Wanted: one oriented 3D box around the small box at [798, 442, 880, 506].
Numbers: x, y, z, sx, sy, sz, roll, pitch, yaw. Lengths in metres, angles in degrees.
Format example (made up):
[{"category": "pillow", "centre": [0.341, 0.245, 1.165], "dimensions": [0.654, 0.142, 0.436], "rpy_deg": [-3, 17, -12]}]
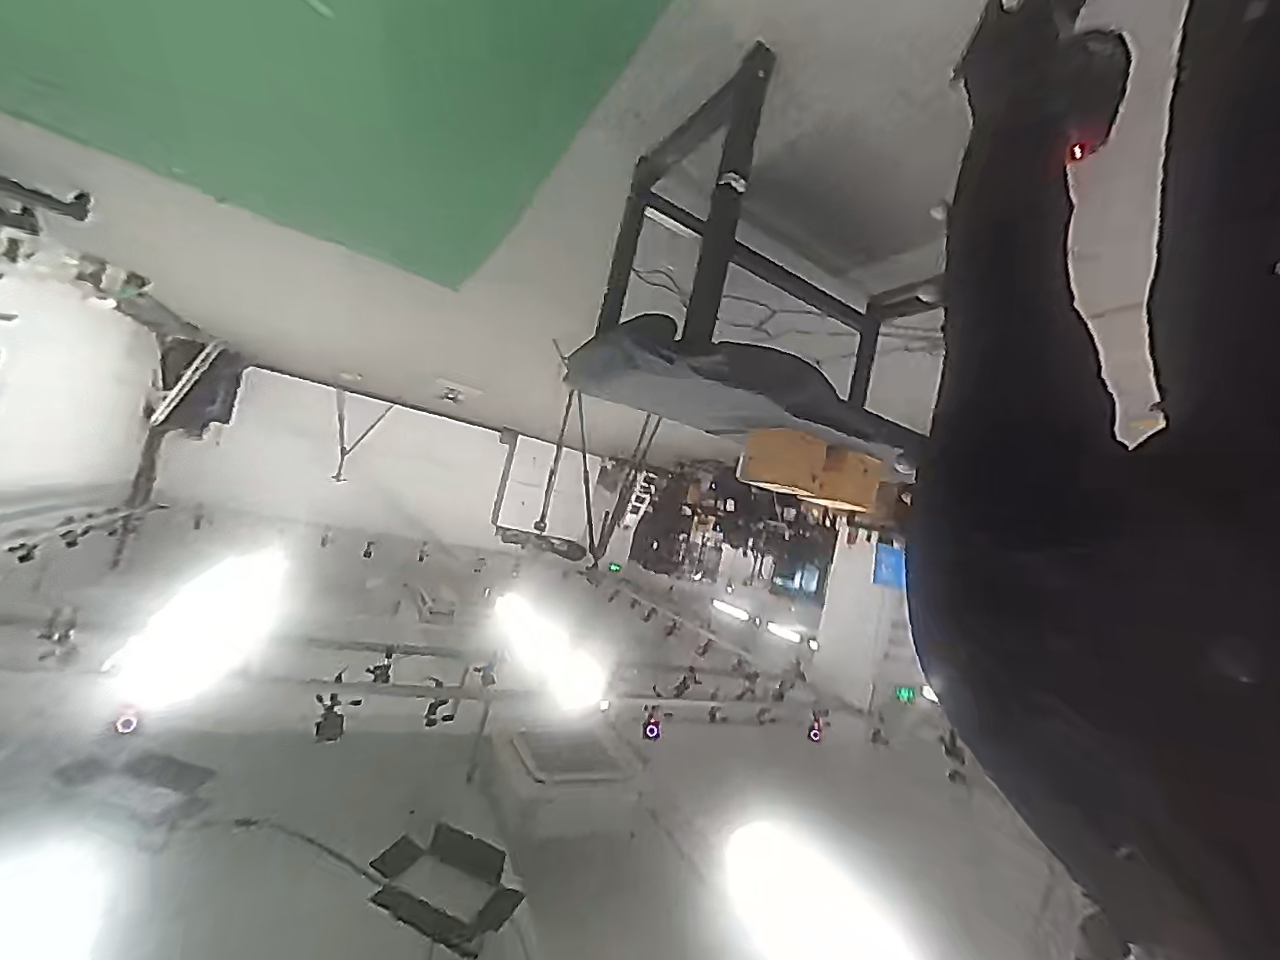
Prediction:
[{"category": "small box", "centre": [0.646, -0.023, 1.752], "dimensions": [0.168, 0.176, 0.179], "rpy_deg": [14, 176, -26]}]
